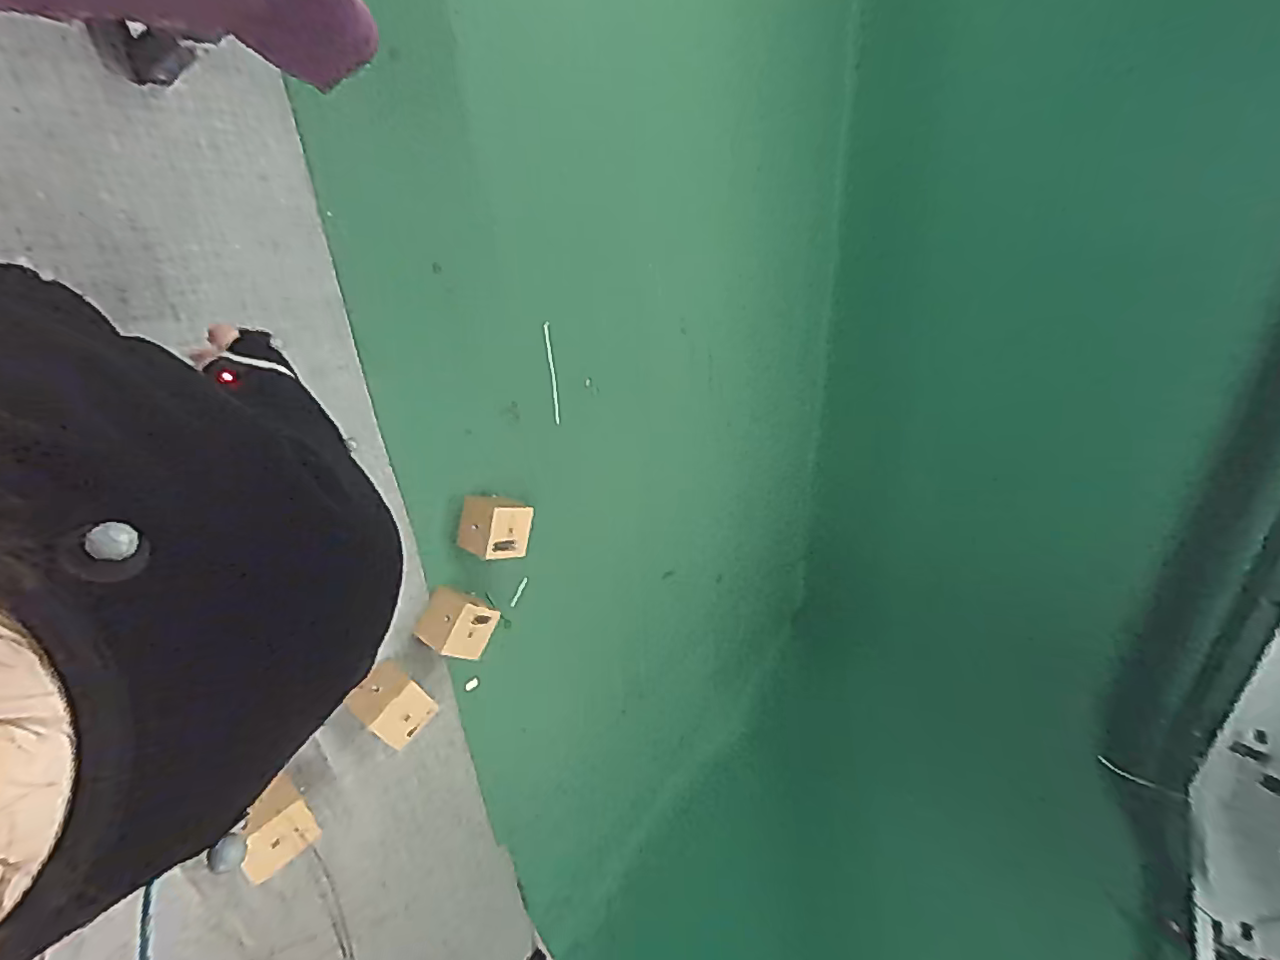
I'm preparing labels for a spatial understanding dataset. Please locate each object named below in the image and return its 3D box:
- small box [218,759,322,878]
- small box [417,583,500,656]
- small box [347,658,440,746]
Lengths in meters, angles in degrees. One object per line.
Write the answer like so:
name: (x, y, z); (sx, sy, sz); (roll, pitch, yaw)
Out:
small box: (-1.017, 0.918, 1.481); (0.179, 0.176, 0.168); (-31, 128, -41)
small box: (-0.612, 0.464, 1.814); (0.168, 0.176, 0.179); (38, 75, -52)
small box: (-0.775, 0.685, 1.696); (0.168, 0.176, 0.179); (-47, 136, -30)
